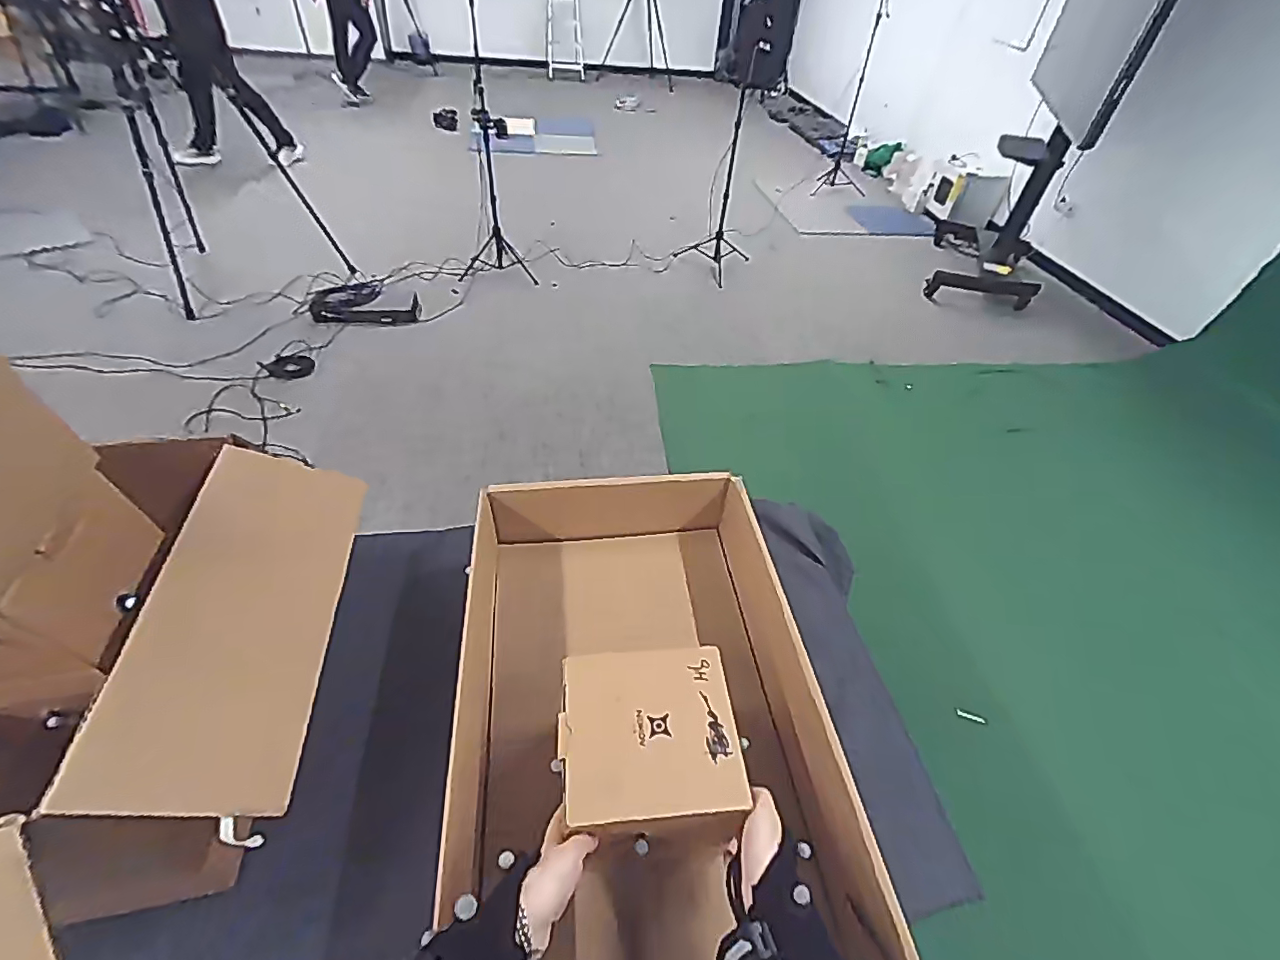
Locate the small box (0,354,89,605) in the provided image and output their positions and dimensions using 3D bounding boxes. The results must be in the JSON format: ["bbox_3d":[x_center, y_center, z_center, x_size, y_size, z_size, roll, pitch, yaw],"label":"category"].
[{"bbox_3d":[-0.606,-0.004,0.423,0.168,0.176,0.179,-5,50,-8],"label":"small box"}]
